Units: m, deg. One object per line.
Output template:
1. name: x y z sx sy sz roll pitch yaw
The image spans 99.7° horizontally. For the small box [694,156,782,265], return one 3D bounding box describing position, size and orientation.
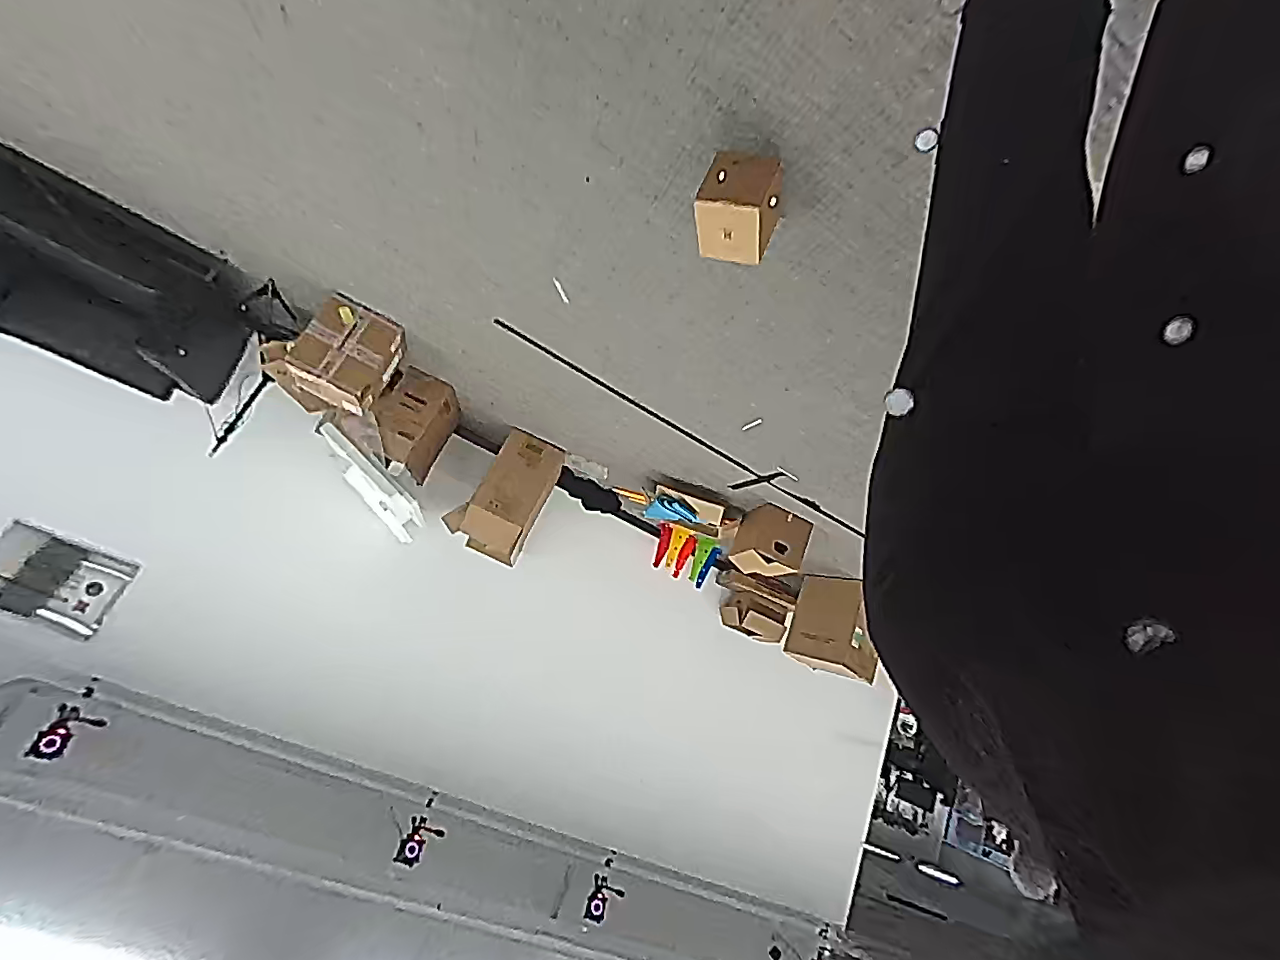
1. small box: 0.249 -0.675 1.350 0.168 0.176 0.179 18 162 21
